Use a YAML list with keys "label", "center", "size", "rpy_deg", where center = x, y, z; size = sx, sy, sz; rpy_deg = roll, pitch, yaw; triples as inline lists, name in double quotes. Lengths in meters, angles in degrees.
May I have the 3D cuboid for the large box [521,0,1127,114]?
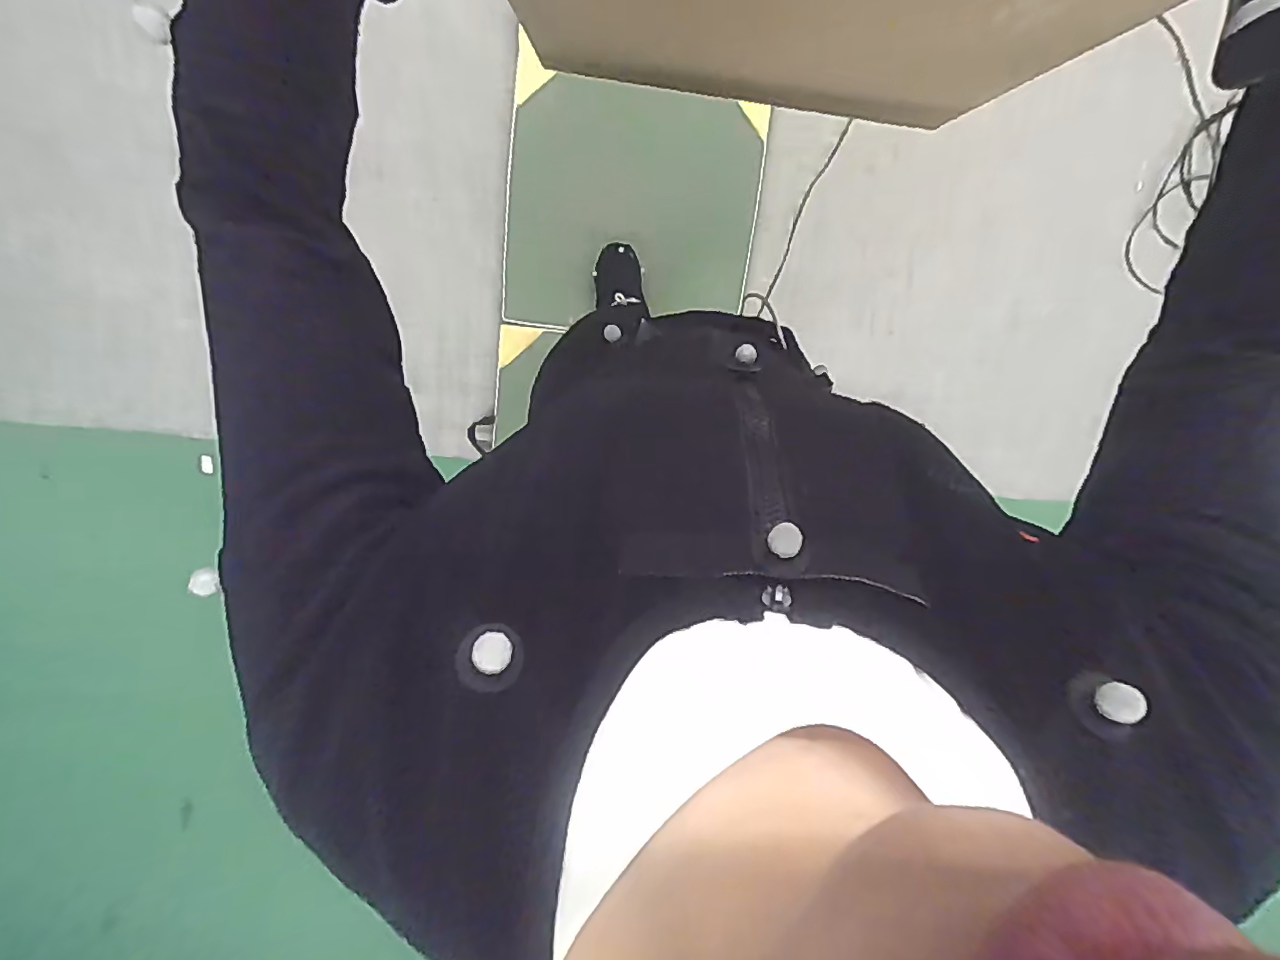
- label: "large box"
  center: [0.118, -0.479, 0.351]
  size: [0.408, 0.320, 0.320]
  rpy_deg: [6, 111, -3]
